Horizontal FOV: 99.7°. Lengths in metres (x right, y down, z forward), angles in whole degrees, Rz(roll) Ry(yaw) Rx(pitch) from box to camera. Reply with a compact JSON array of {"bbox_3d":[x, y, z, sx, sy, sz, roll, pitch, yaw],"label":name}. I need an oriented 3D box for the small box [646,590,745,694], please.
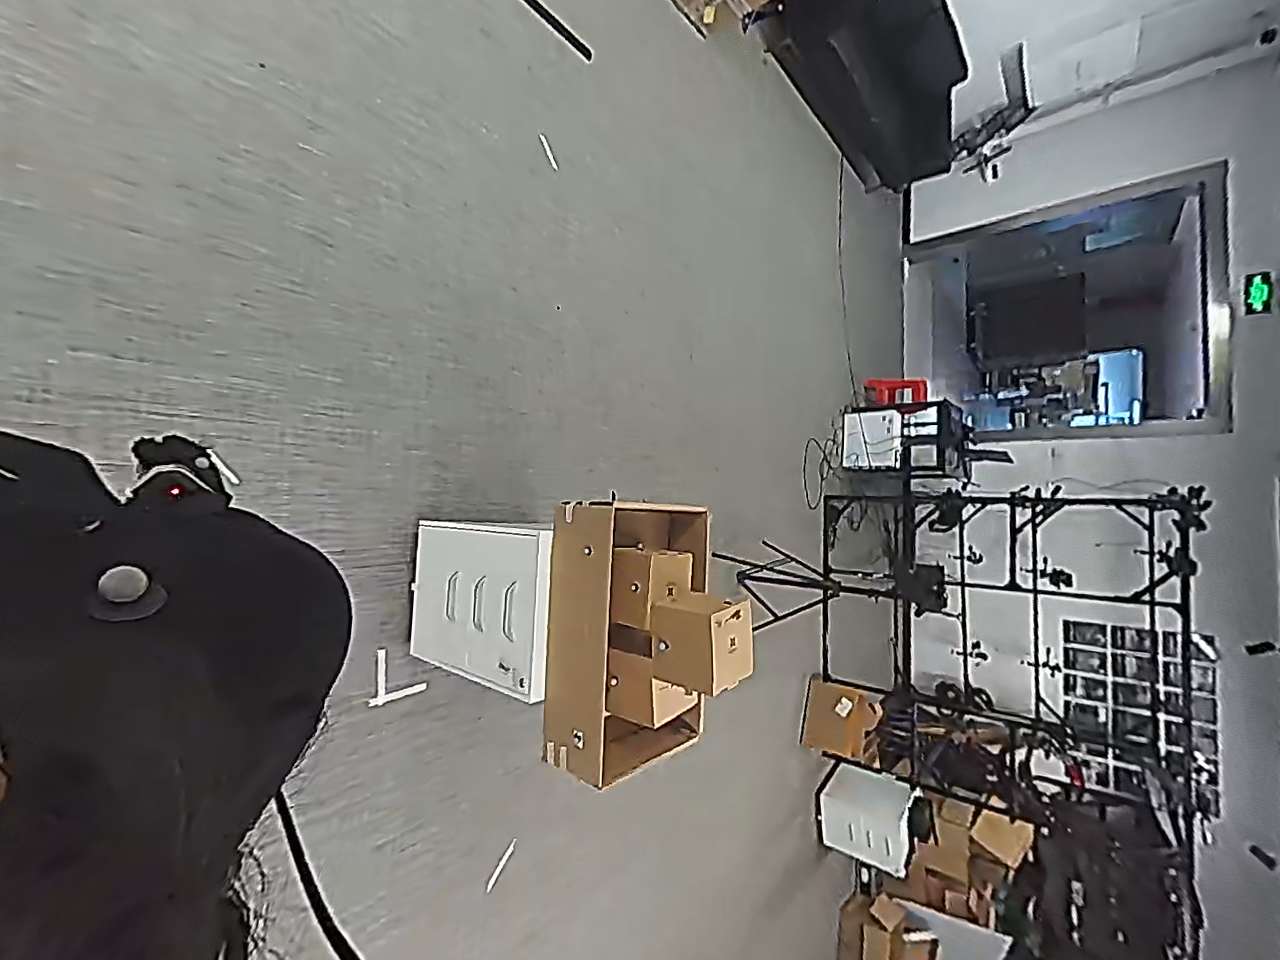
[{"bbox_3d":[0.127,0.363,1.241,0.168,0.176,0.179,-2,91,-50],"label":"small box"}]
